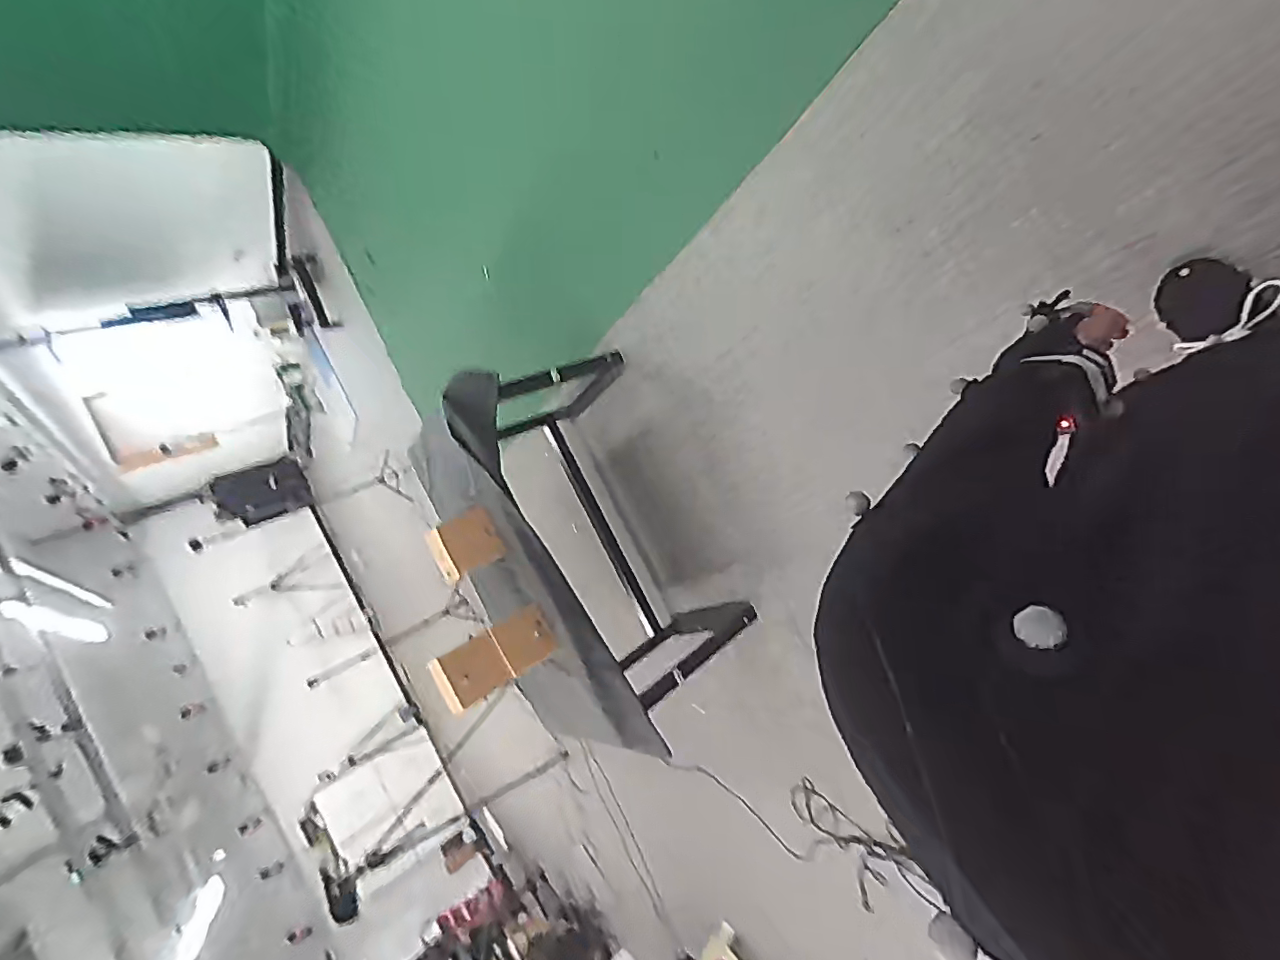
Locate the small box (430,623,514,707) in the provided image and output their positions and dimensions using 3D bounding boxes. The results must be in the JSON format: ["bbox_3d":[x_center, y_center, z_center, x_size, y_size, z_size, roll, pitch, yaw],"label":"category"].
[{"bbox_3d":[-0.507,0.560,1.641,0.179,0.176,0.168,60,143,7],"label":"small box"}]

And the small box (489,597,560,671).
[{"bbox_3d":[-0.380,0.500,1.723,0.168,0.176,0.179,56,143,10],"label":"small box"}]

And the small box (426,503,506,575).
[{"bbox_3d":[-0.564,0.188,1.759,0.168,0.176,0.179,-29,88,54],"label":"small box"}]
